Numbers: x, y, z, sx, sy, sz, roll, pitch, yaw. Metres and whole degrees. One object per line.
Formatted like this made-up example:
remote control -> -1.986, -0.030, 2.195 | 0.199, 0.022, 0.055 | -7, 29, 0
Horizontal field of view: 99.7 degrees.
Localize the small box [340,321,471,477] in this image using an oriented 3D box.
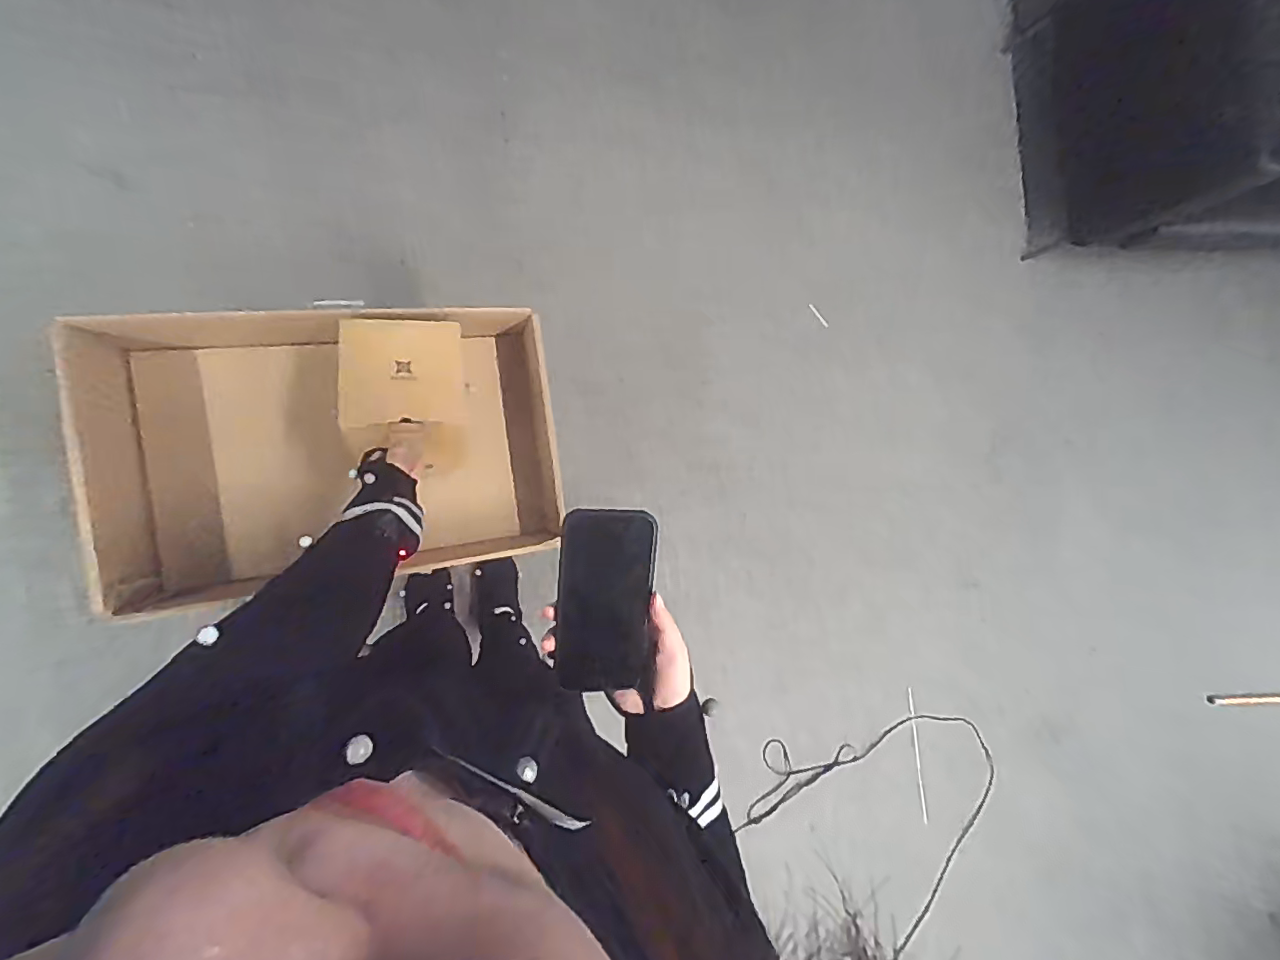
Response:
small box -> -0.354, -0.120, 0.837 | 0.168, 0.176, 0.179 | -3, 66, -19
